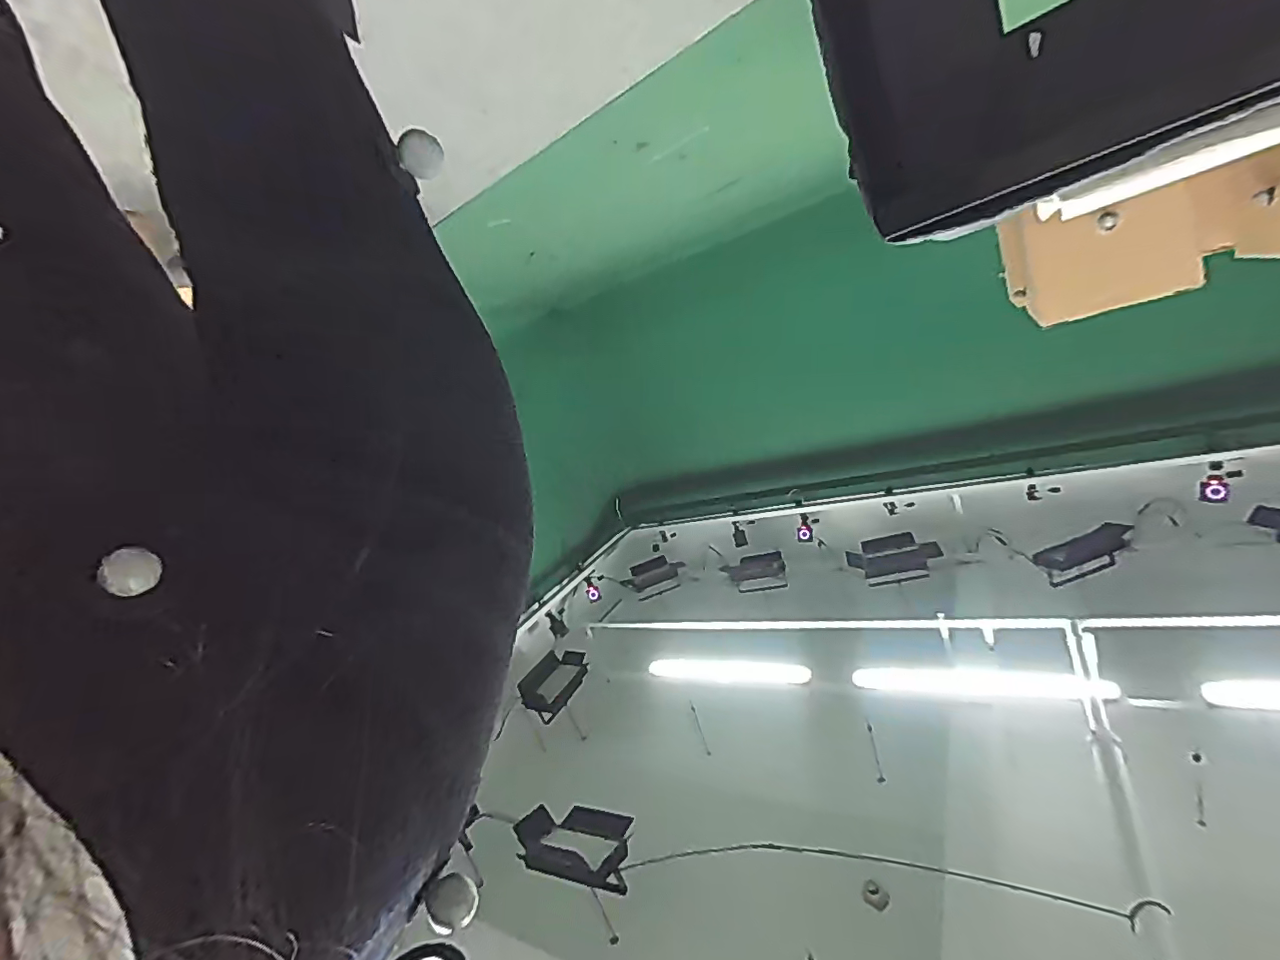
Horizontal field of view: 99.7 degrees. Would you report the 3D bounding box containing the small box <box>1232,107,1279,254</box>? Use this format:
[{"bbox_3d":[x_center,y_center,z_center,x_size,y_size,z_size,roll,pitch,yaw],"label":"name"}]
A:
[{"bbox_3d":[0.841,-0.378,0.623,0.179,0.176,0.168,-12,-166,31],"label":"small box"}]

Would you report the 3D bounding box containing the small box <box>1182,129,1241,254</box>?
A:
[{"bbox_3d":[0.974,-0.478,0.861,0.179,0.176,0.168,-11,-165,31],"label":"small box"}]

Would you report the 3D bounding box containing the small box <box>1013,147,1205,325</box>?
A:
[{"bbox_3d":[0.638,-0.334,0.754,0.168,0.176,0.179,-12,-166,34],"label":"small box"}]
